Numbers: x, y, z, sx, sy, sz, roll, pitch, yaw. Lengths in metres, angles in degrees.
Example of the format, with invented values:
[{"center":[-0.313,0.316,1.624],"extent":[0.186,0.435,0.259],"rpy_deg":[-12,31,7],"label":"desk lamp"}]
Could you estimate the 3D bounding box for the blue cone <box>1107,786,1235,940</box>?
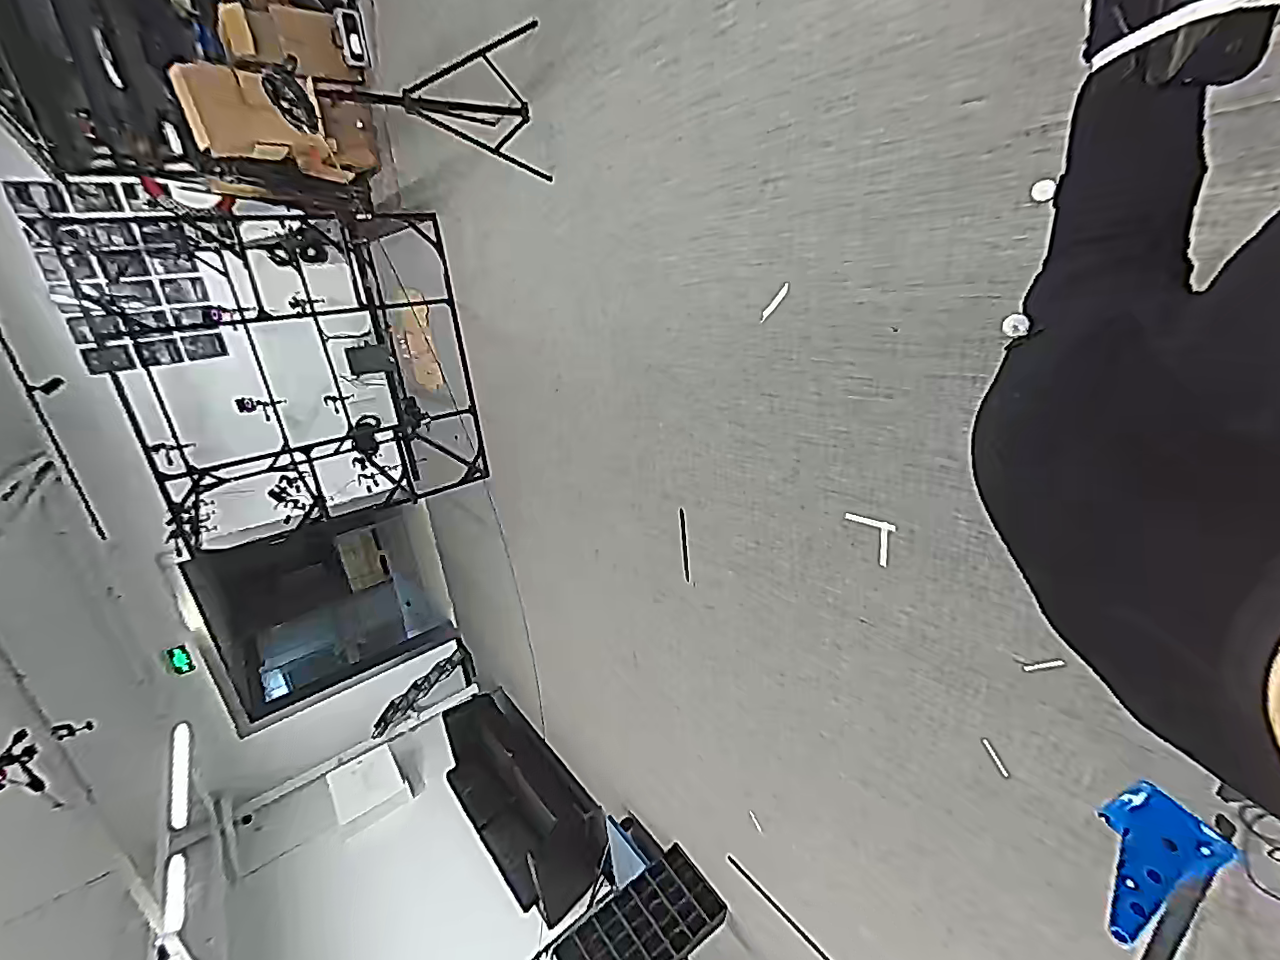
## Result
[{"center":[1.188,0.921,1.264],"extent":[0.193,0.380,0.192],"rpy_deg":[44,139,36],"label":"blue cone"}]
